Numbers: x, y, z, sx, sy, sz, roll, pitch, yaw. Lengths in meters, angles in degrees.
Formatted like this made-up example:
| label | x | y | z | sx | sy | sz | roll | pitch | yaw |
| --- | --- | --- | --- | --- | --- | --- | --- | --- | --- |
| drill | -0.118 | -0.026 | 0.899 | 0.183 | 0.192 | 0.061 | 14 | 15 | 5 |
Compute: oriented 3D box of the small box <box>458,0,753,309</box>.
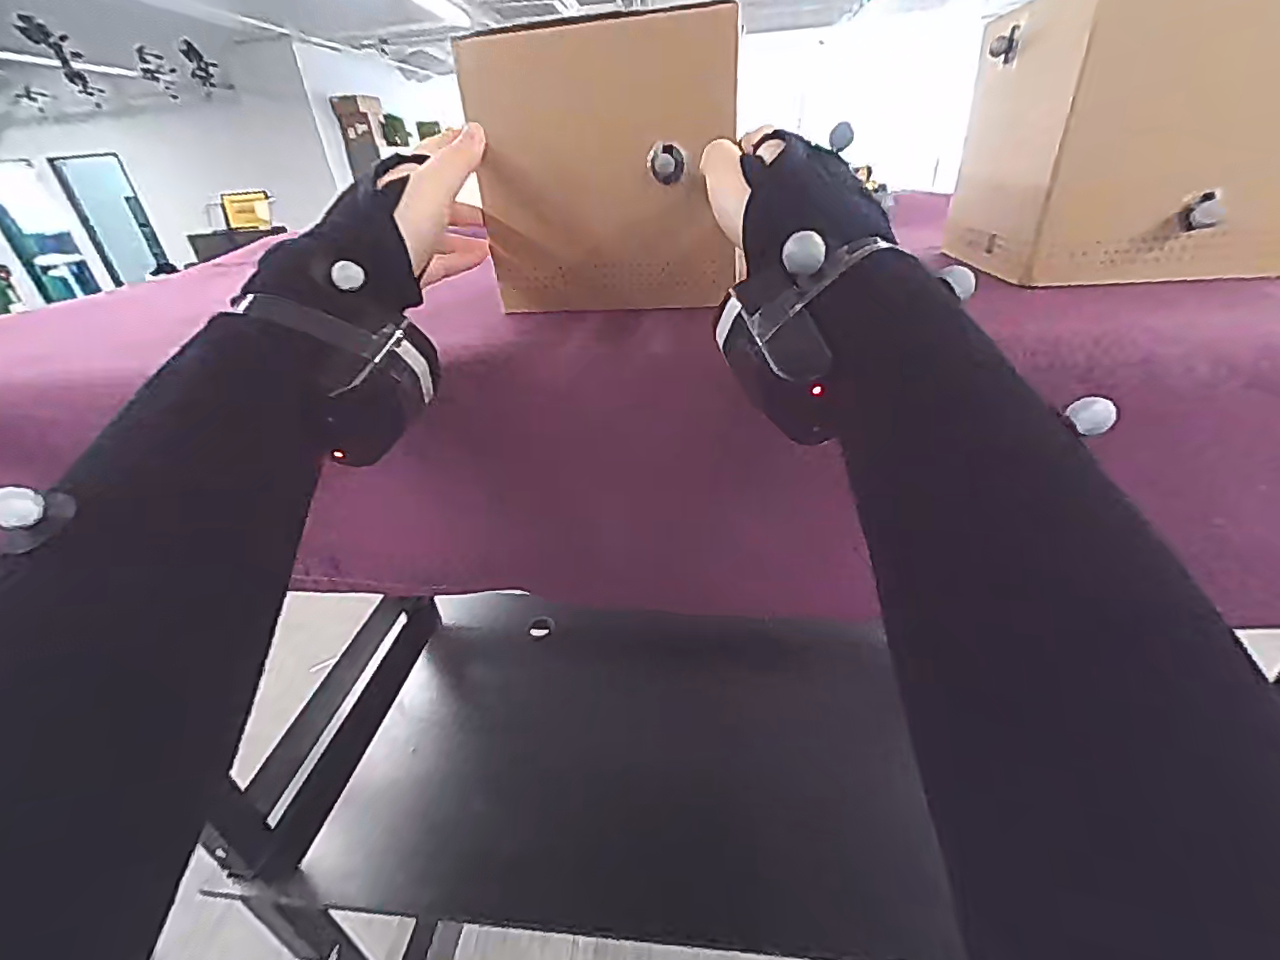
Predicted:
| label | x | y | z | sx | sy | sz | roll | pitch | yaw |
| --- | --- | --- | --- | --- | --- | --- | --- | --- | --- |
| small box | -0.006 | -0.236 | 0.417 | 0.179 | 0.176 | 0.168 | 2 | 30 | 11 |

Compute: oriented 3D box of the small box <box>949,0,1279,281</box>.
| label | x | y | z | sx | sy | sz | roll | pitch | yaw |
| --- | --- | --- | --- | --- | --- | --- | --- | --- | --- |
| small box | 0.347 | -0.241 | 0.373 | 0.179 | 0.176 | 0.168 | 1 | 30 | 9 |
